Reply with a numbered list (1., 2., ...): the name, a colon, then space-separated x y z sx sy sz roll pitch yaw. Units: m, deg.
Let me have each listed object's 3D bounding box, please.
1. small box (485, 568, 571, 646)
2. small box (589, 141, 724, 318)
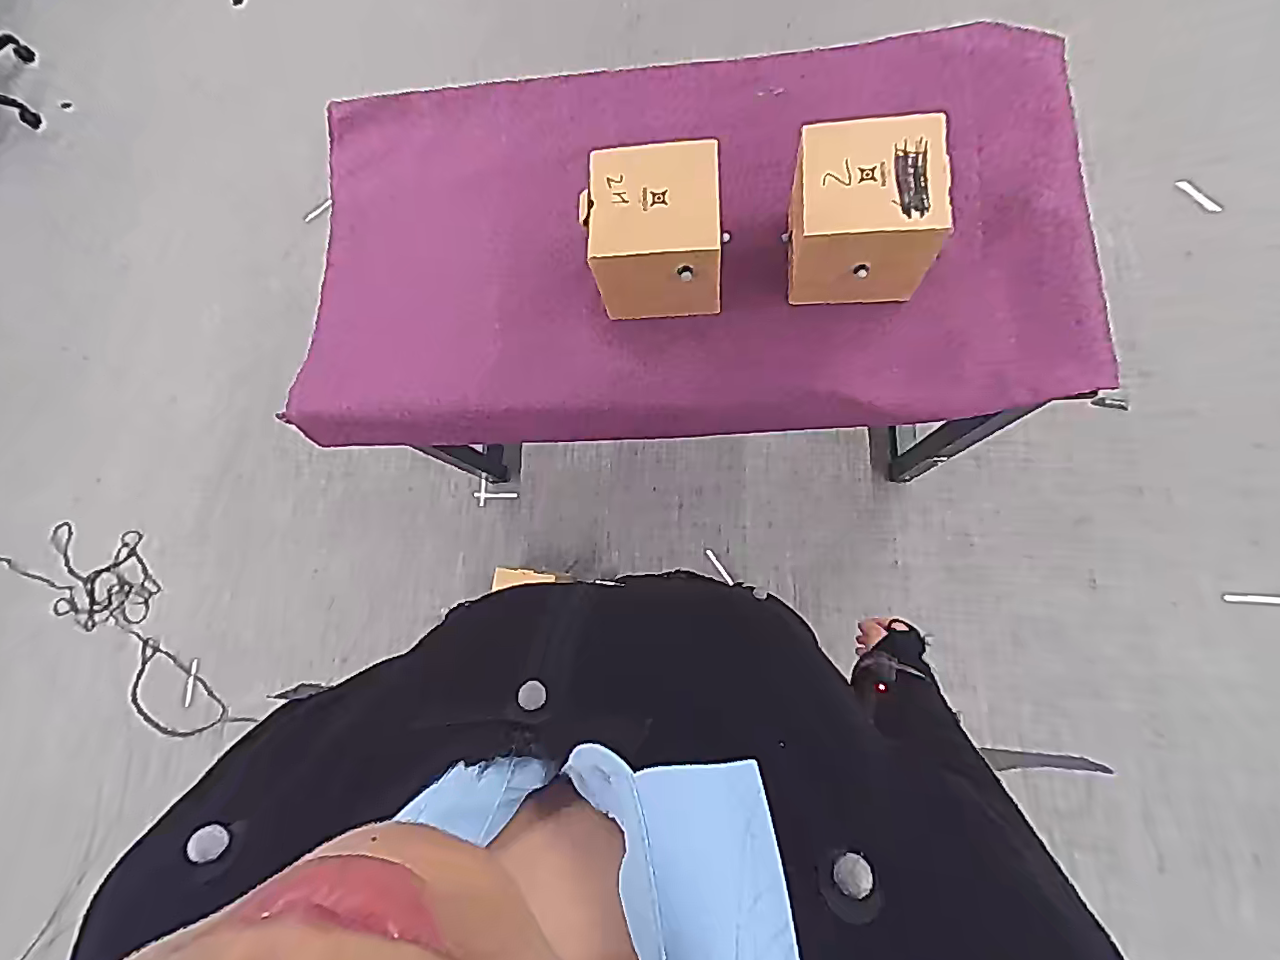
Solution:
1. small box: -0.294 0.336 1.454 0.168 0.176 0.179 6 80 9
2. small box: 0.031 -0.353 0.791 0.179 0.176 0.168 -1 78 8
